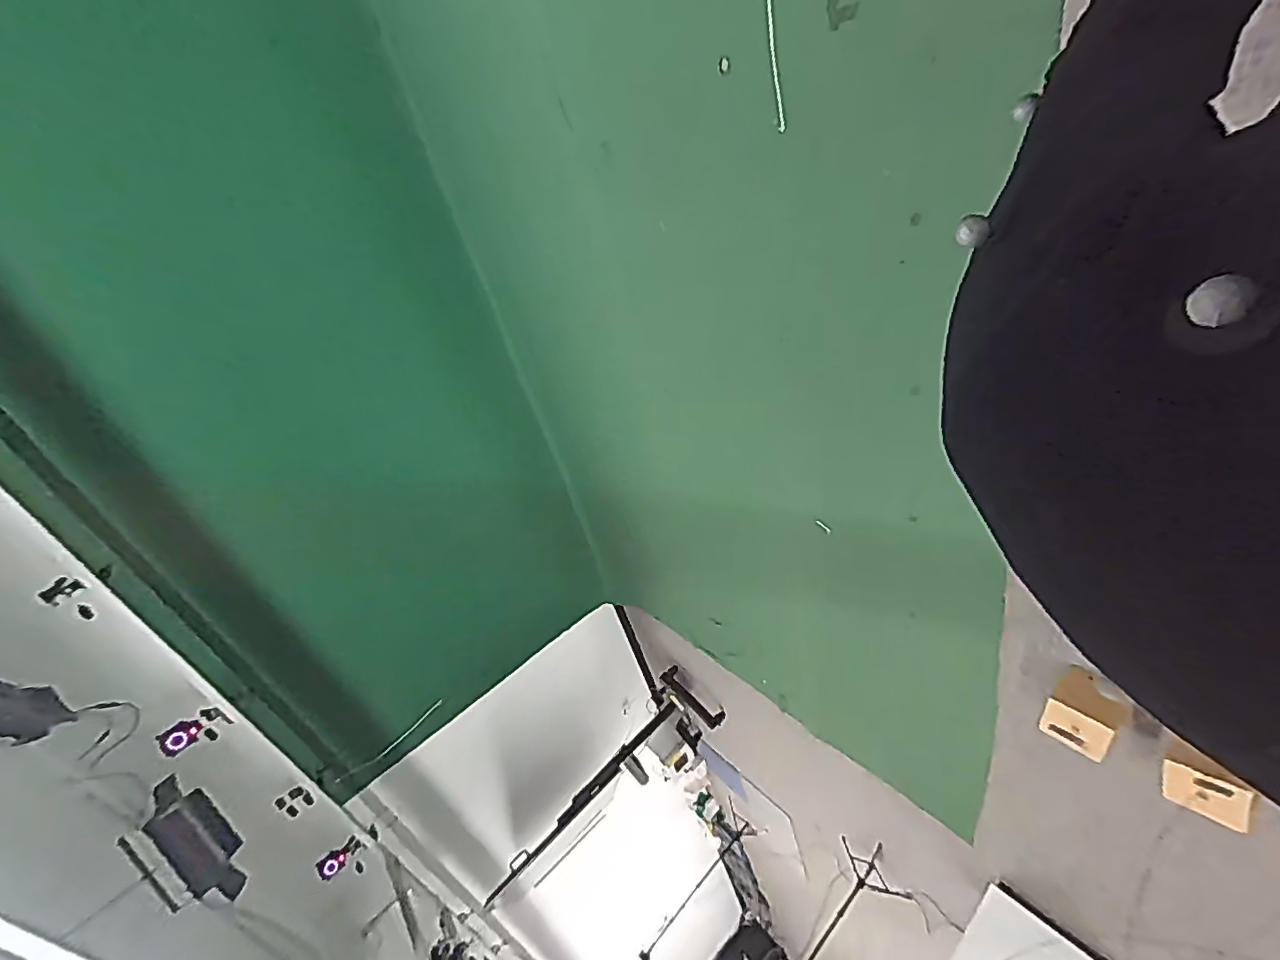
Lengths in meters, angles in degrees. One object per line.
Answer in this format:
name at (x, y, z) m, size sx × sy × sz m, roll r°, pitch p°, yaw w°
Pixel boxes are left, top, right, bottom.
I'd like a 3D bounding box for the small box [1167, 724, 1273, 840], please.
small box at (1.558, 0.801, 1.455) m, size 0.168 × 0.176 × 0.179 m, roll 14°, pitch 132°, yaw 55°
